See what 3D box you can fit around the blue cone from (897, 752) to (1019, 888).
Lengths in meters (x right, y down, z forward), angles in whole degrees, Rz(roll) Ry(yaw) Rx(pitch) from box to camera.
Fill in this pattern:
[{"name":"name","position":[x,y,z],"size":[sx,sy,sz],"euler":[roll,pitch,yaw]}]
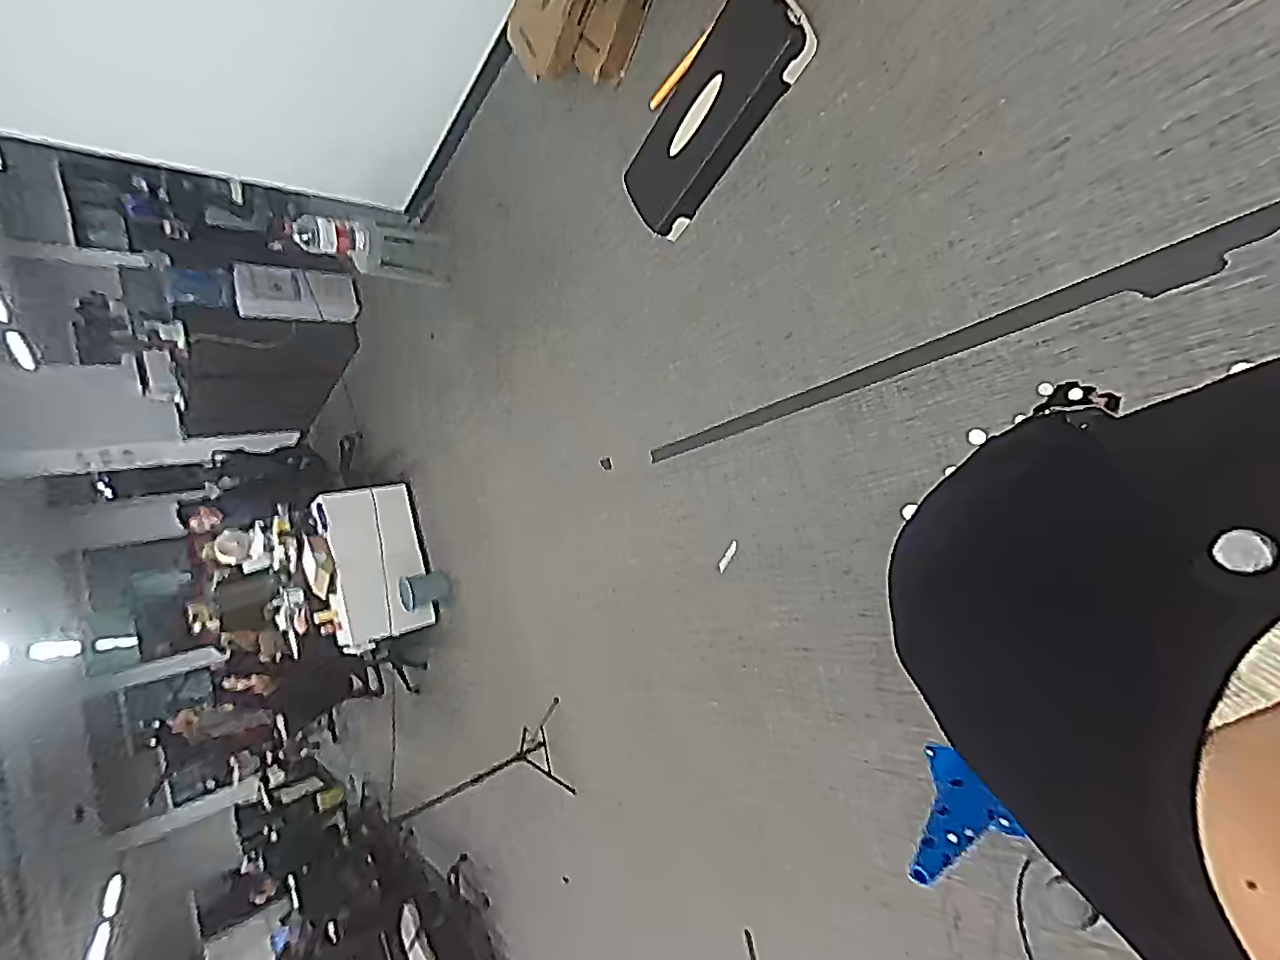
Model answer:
[{"name":"blue cone","position":[0.698,0.804,1.239],"size":[0.192,0.380,0.193],"euler":[-17,85,50]}]
